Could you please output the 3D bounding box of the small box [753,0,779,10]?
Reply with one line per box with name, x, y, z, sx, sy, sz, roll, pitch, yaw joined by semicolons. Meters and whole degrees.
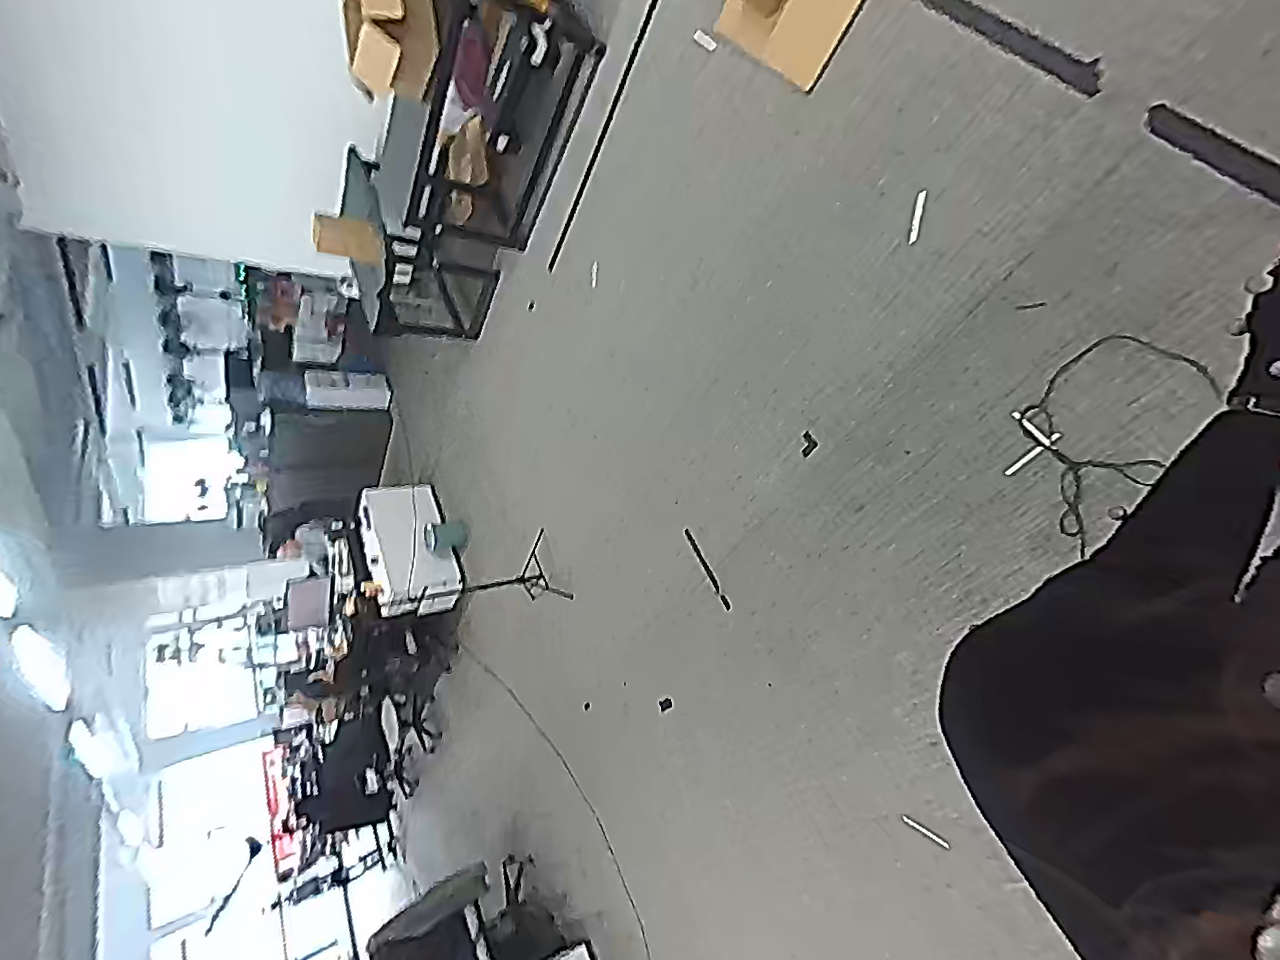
small box;0.401;-1.743;1.826;0.179;0.176;0.168;60;135;29
